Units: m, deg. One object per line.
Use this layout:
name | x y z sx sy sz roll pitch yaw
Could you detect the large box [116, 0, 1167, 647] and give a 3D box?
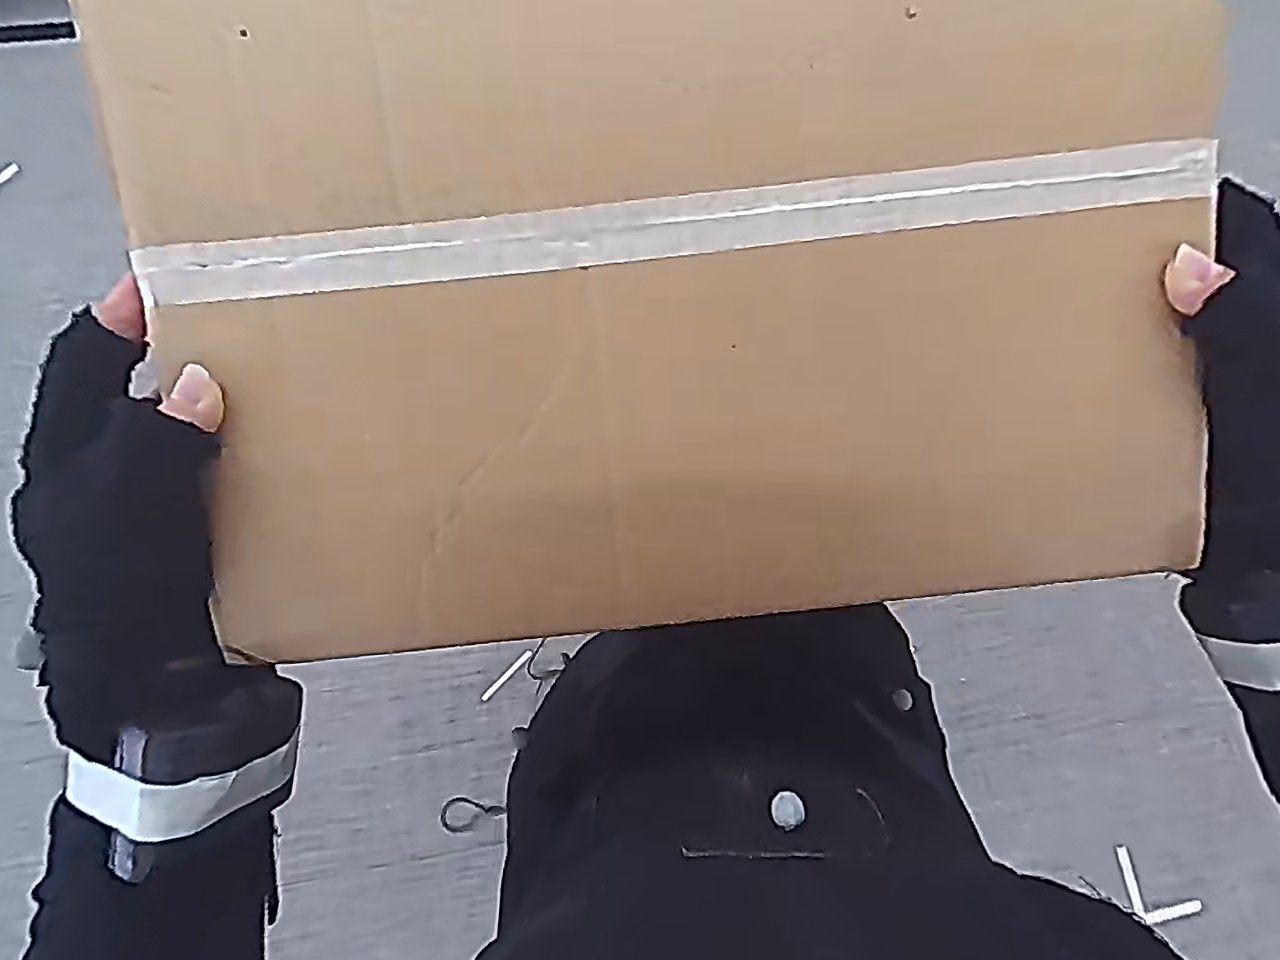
large box | 0.010 -0.119 0.366 0.408 0.320 0.320 -6 97 -1
